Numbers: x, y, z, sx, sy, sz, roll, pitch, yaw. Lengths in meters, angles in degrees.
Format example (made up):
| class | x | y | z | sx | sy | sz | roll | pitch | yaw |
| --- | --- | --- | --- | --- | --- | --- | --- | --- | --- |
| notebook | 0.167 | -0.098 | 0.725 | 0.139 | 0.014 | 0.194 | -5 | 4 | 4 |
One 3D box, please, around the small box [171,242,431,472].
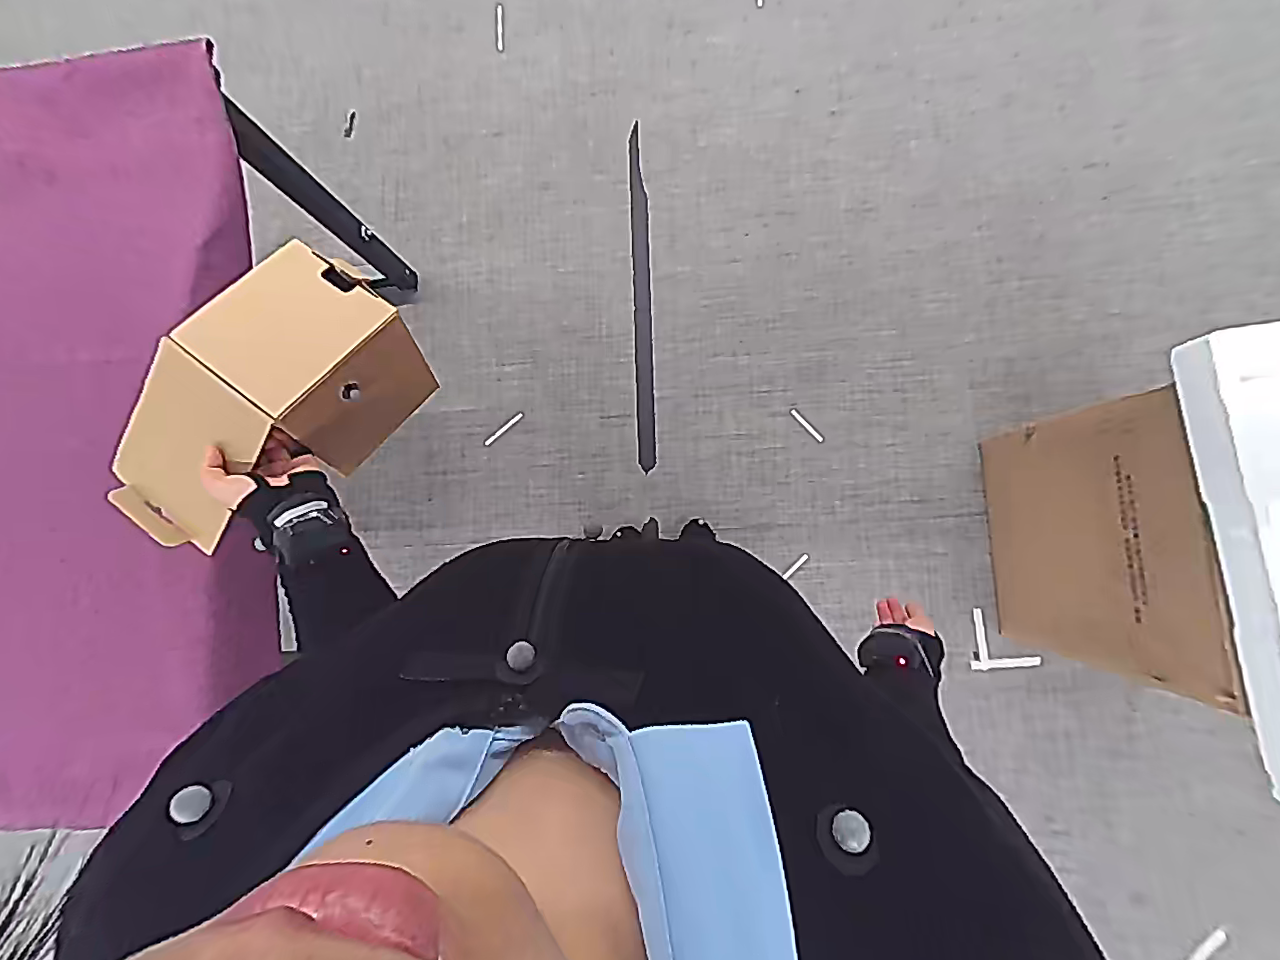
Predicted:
| class | x | y | z | sx | sy | sz | roll | pitch | yaw |
| --- | --- | --- | --- | --- | --- | --- | --- | --- | --- |
| small box | -0.389 | -0.139 | 0.660 | 0.168 | 0.176 | 0.179 | 36 | 70 | 9 |
